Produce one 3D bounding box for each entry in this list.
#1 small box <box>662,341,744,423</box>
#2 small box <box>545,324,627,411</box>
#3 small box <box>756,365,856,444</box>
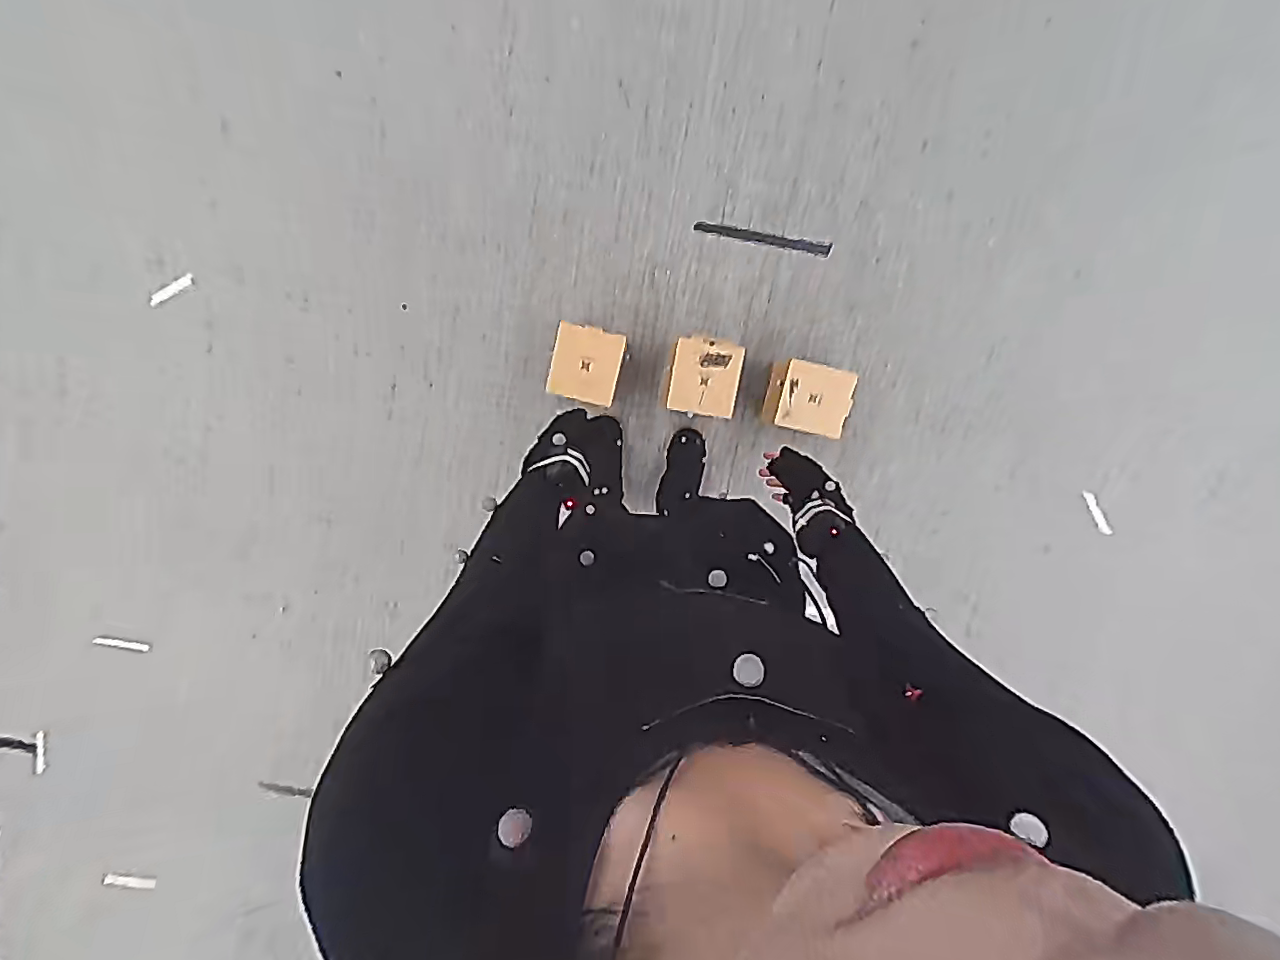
[{"bbox_3d":[0.153,-0.250,1.389,0.168,0.176,0.179,10,100,-3],"label":"small box"},{"bbox_3d":[-0.133,-0.283,1.377,0.168,0.176,0.179,13,100,-3],"label":"small box"},{"bbox_3d":[0.425,-0.201,1.408,0.179,0.176,0.168,13,100,-5],"label":"small box"}]
